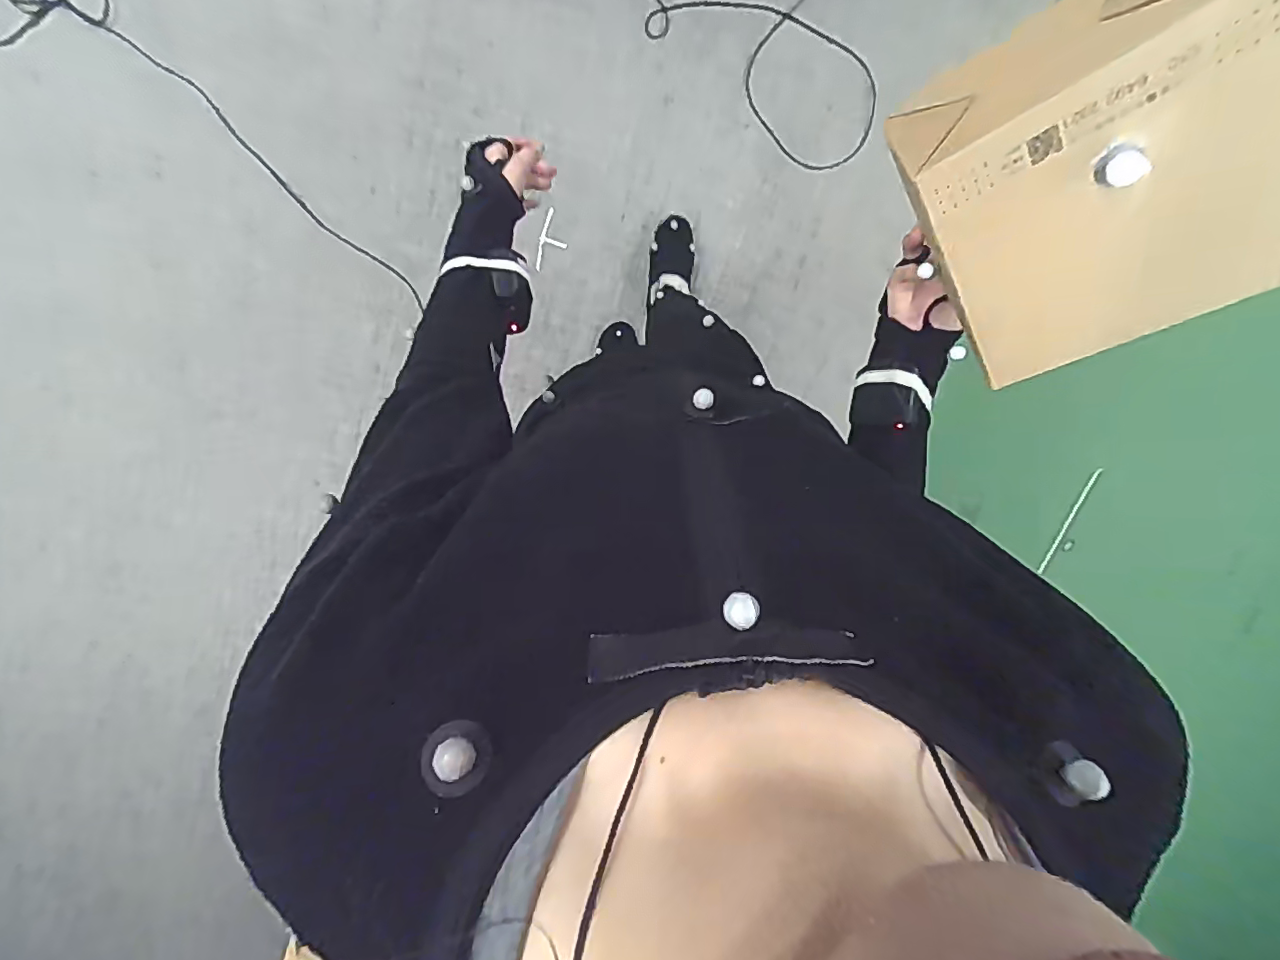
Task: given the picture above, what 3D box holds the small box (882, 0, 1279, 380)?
[{"bbox_3d":[0.283,-0.208,0.368,0.168,0.179,0.176,-24,121,32],"label":"small box"}]
